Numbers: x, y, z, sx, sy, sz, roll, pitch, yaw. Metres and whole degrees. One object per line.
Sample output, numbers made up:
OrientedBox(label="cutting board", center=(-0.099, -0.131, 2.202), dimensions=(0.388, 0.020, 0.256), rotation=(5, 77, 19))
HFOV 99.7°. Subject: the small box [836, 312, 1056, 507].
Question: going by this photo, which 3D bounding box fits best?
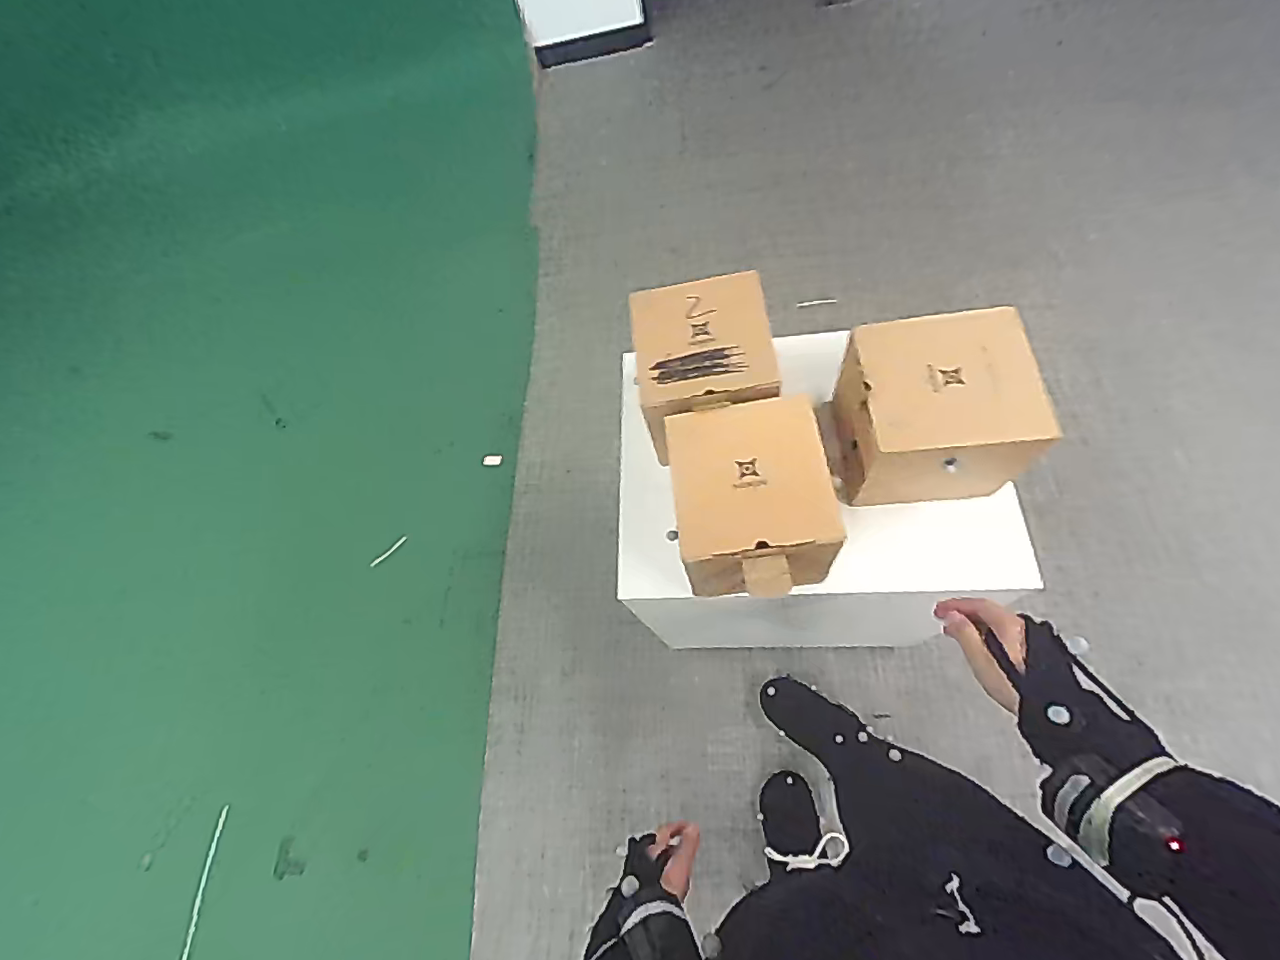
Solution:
OrientedBox(label="small box", center=(0.342, -0.073, 0.652), dimensions=(0.179, 0.176, 0.168), rotation=(-5, 67, 9))
